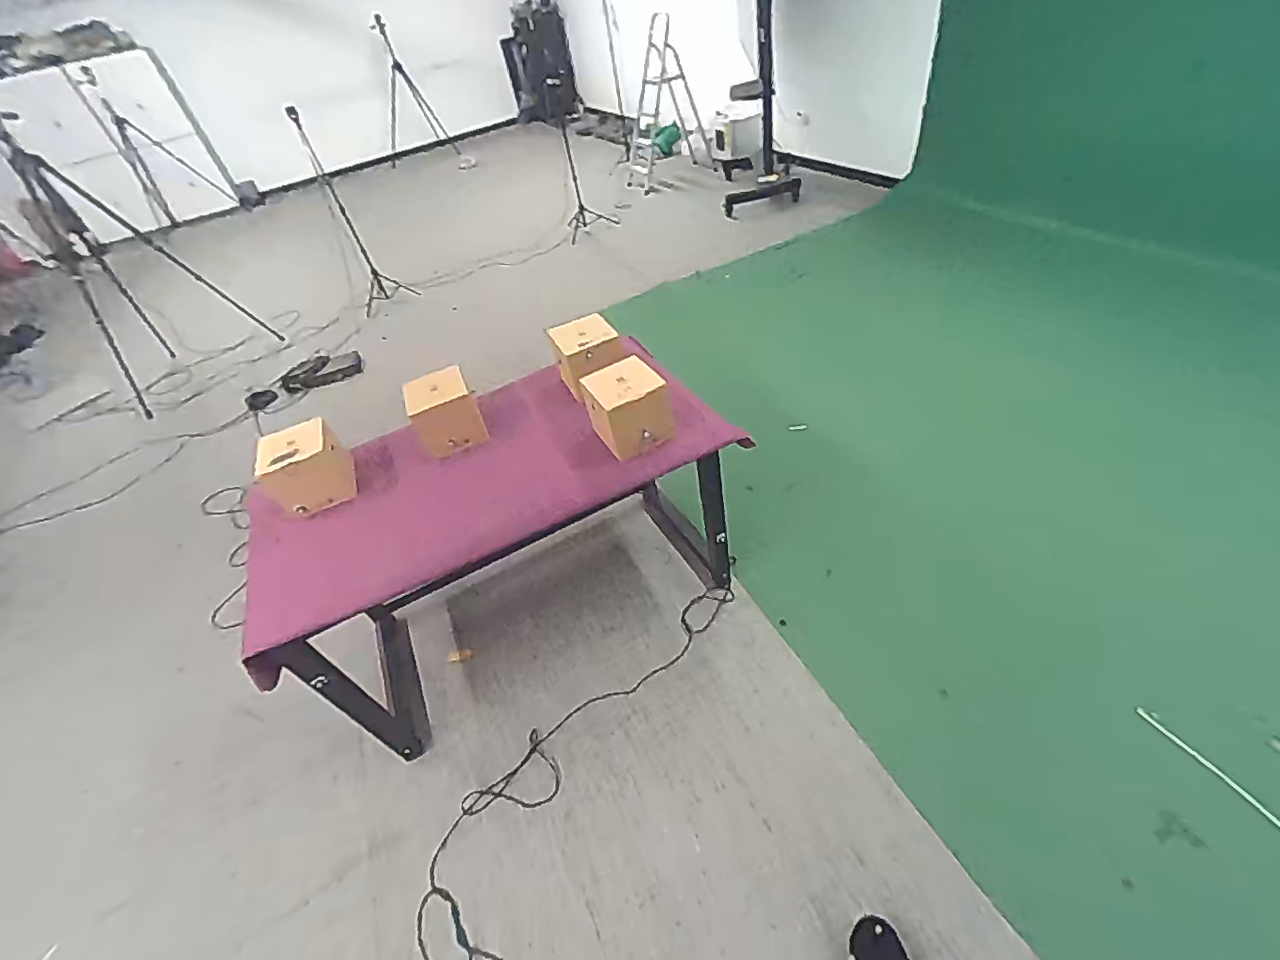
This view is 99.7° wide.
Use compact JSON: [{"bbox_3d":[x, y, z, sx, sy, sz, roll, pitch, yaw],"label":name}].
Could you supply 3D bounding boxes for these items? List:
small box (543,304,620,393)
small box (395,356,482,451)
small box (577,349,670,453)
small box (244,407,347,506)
[{"bbox_3d":[-0.164,-0.383,1.583,0.168,0.176,0.179,-25,46,-11],"label":"small box"},{"bbox_3d":[-0.556,-0.212,1.498,0.168,0.176,0.179,-23,47,-10],"label":"small box"},{"bbox_3d":[-0.040,-0.199,1.372,0.168,0.176,0.179,-27,46,-12],"label":"small box"},{"bbox_3d":[-0.887,-0.054,1.406,0.168,0.176,0.179,-24,47,-13],"label":"small box"}]
